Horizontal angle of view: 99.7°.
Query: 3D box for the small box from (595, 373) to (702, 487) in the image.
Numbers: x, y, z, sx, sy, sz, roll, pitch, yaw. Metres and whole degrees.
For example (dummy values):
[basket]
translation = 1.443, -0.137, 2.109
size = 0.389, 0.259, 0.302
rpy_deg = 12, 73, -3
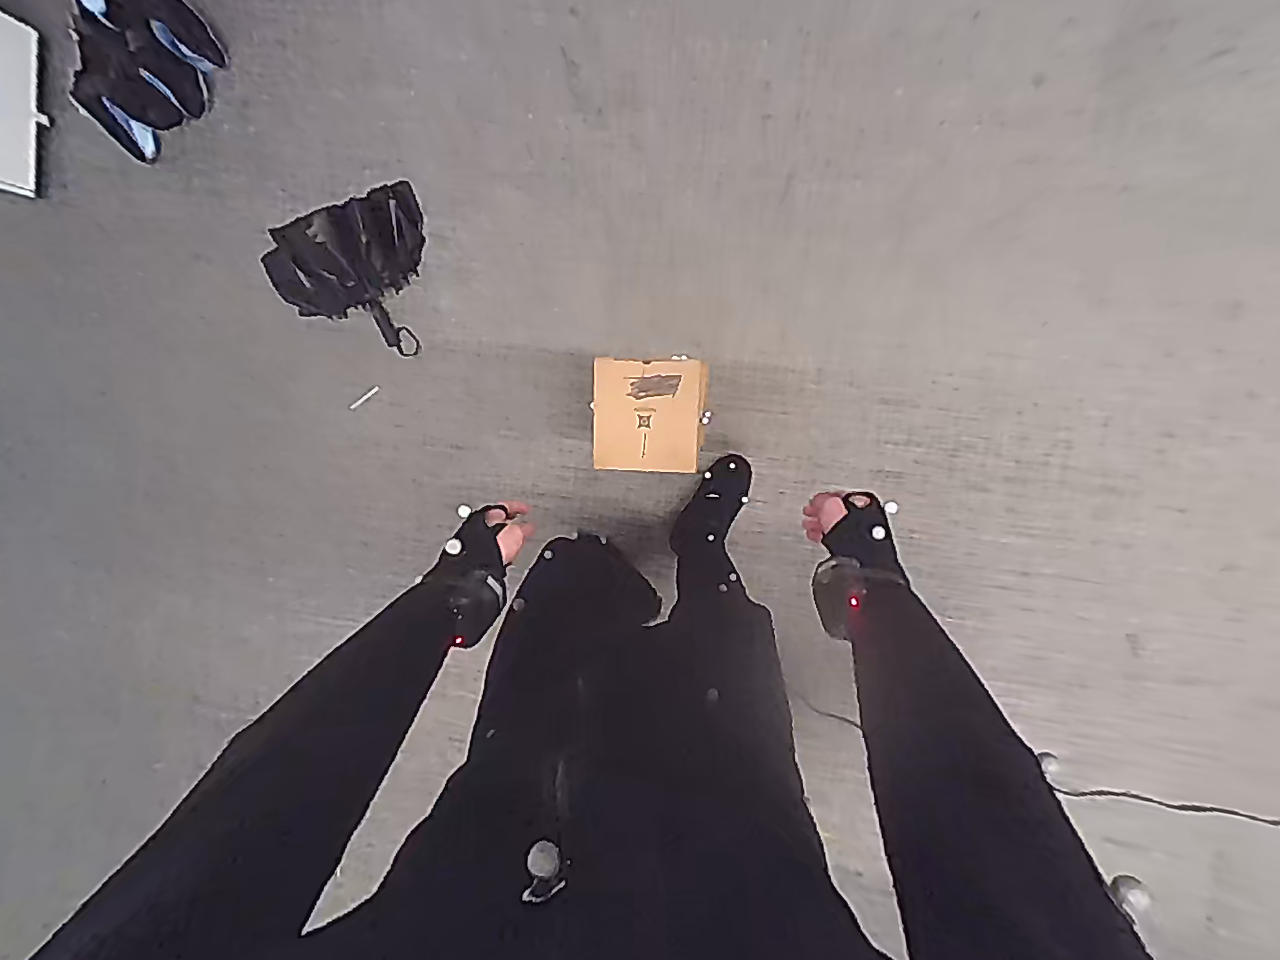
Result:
[small box]
translation = 0.019, -0.090, 0.925
size = 0.168, 0.176, 0.179
rpy_deg = 2, 100, 7
